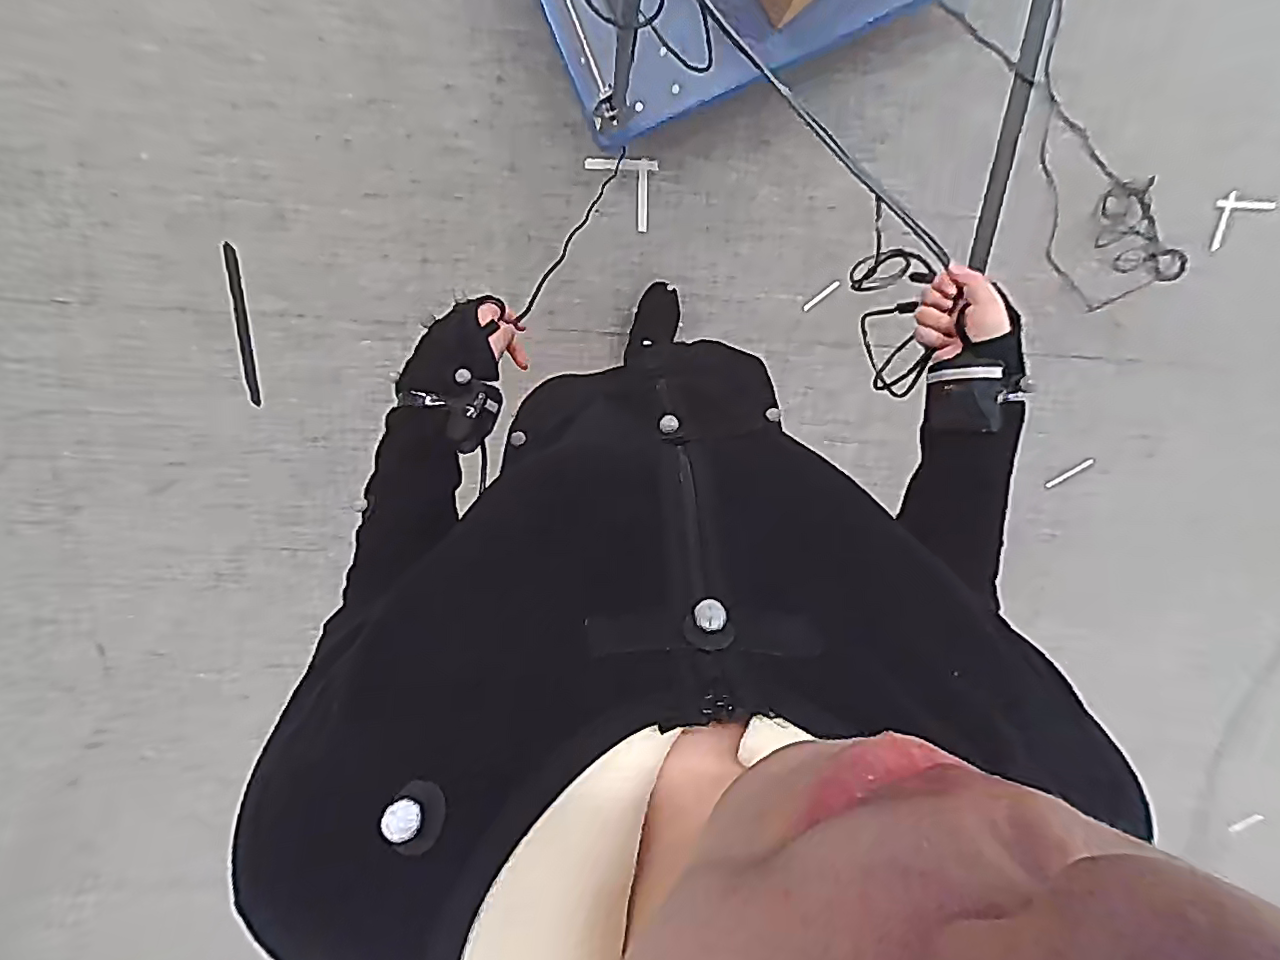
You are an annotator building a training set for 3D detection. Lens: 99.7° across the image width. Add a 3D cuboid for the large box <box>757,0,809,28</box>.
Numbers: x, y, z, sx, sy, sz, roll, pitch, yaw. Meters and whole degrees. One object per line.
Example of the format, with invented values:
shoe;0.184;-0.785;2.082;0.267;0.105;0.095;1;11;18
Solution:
large box;0.265;-1.070;0.844;0.320;0.320;0.408;-37;106;10
